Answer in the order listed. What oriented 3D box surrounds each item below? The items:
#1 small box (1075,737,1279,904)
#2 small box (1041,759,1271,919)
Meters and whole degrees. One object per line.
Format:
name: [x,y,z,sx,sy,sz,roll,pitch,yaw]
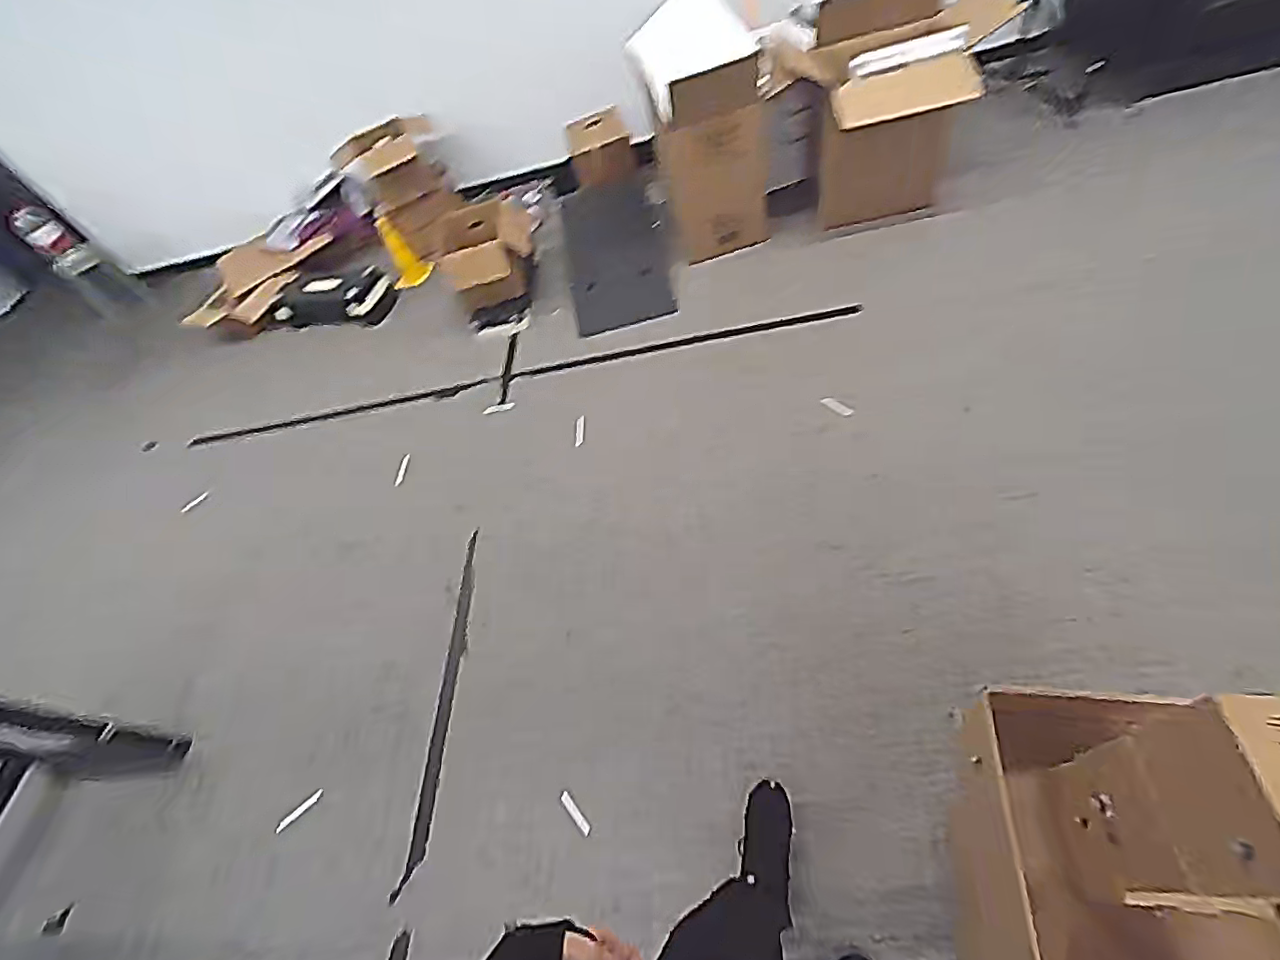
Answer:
small box: [0.716,0.434,0.690,0.179,0.176,0.168,-5,53,11]
small box: [0.747,0.535,0.814,0.168,0.176,0.179,-3,55,13]
